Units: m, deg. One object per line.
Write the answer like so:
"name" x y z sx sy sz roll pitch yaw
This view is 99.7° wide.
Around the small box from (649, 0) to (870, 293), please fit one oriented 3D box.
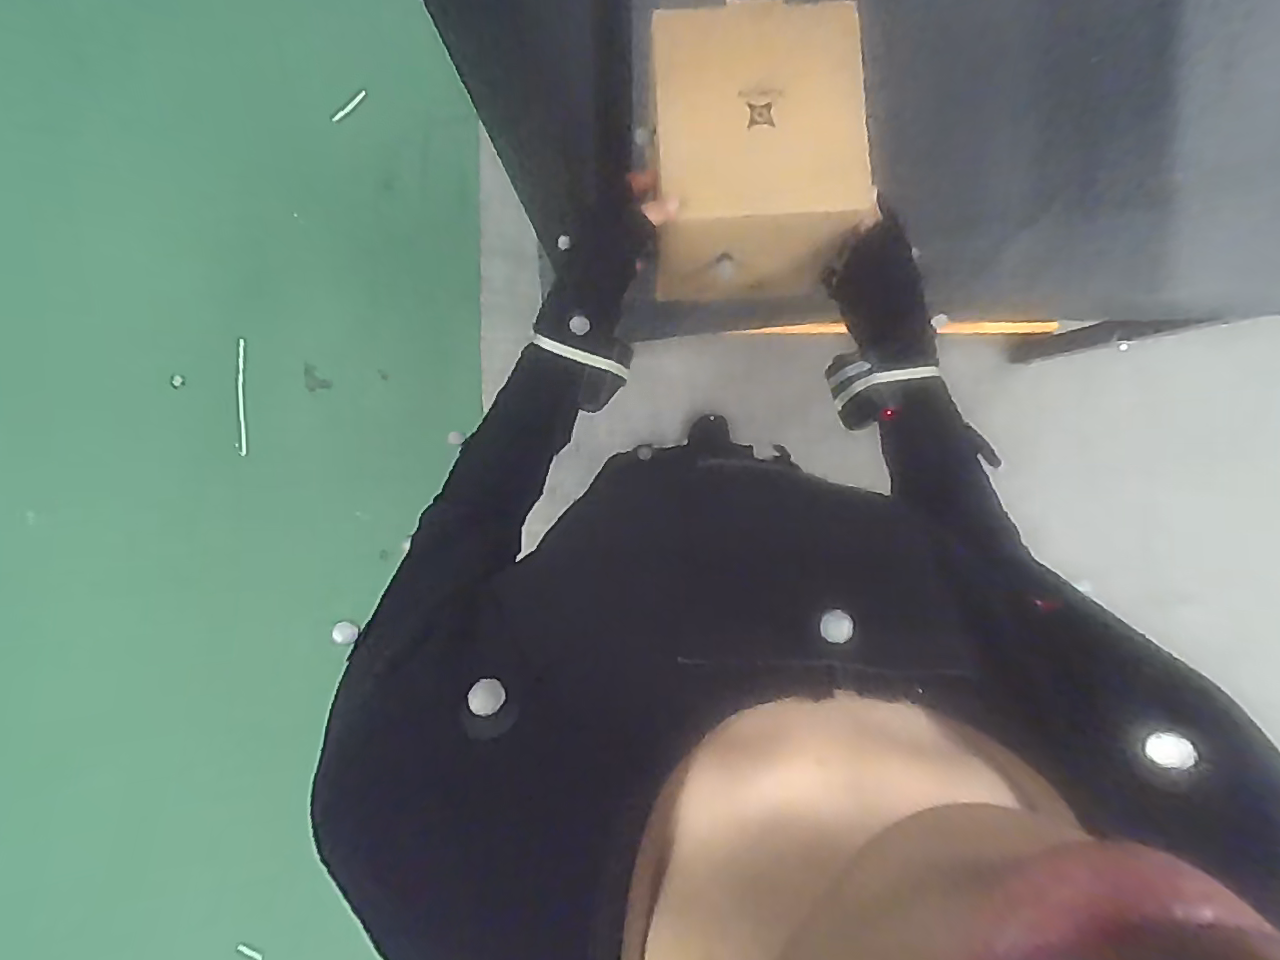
"small box" 0.094 -0.286 0.503 0.168 0.176 0.179 -3 85 0
